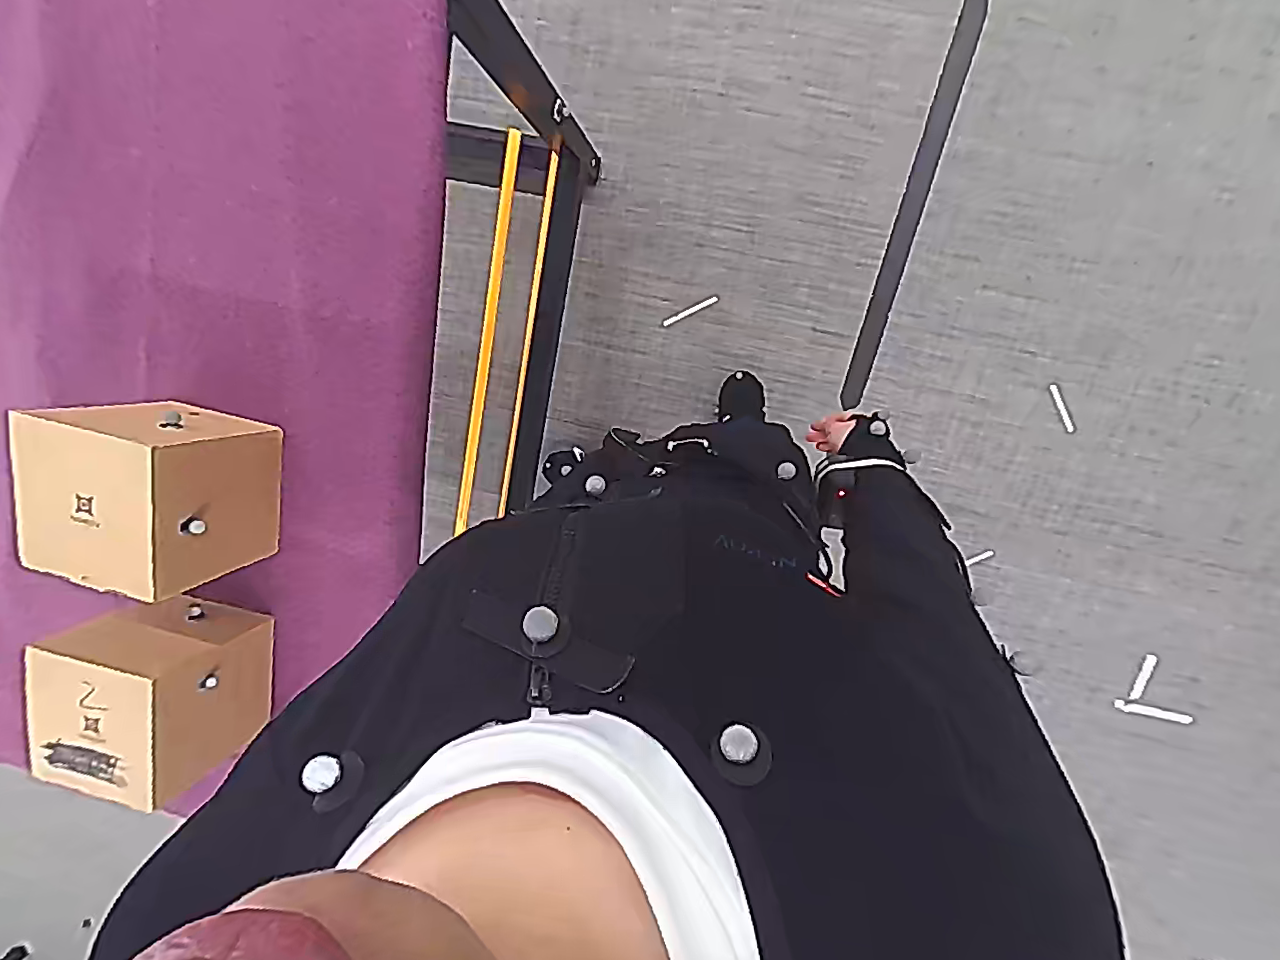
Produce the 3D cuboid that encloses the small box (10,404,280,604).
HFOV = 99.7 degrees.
[{"bbox_3d":[-0.558,0.013,0.632,0.168,0.176,0.179,13,104,6],"label":"small box"}]
